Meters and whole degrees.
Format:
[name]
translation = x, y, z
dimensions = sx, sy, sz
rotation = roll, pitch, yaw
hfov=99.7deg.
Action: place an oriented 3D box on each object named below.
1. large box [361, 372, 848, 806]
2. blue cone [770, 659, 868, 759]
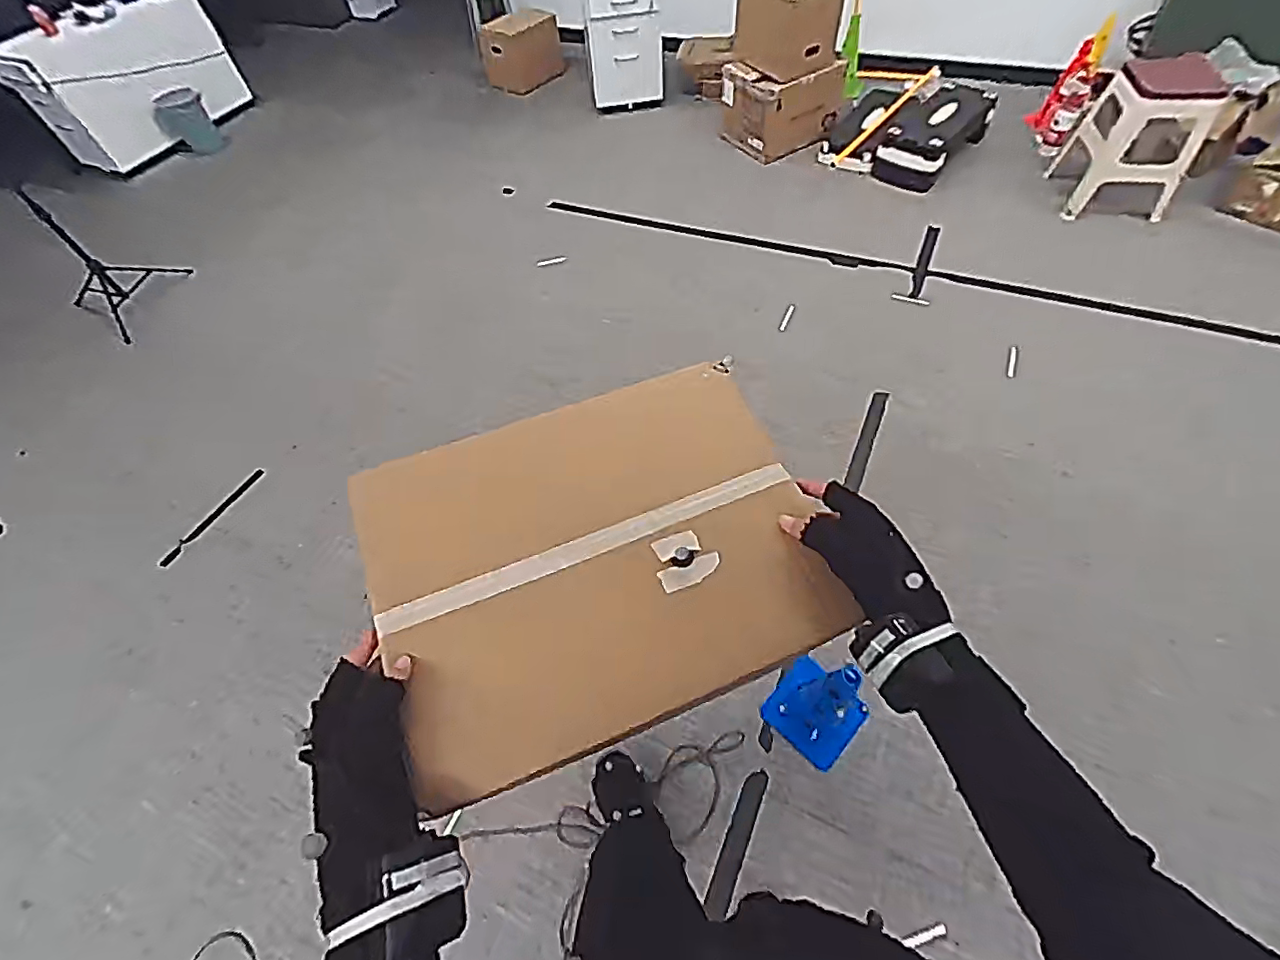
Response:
[large box]
translation = -0.048, 0.135, 0.655
dimensions = 0.408, 0.320, 0.320
rotation = -20, 65, -12
[blue cone]
translation = 0.429, 0.474, 1.204
dimensions = 0.192, 0.380, 0.193
rotation = -40, 62, -20
